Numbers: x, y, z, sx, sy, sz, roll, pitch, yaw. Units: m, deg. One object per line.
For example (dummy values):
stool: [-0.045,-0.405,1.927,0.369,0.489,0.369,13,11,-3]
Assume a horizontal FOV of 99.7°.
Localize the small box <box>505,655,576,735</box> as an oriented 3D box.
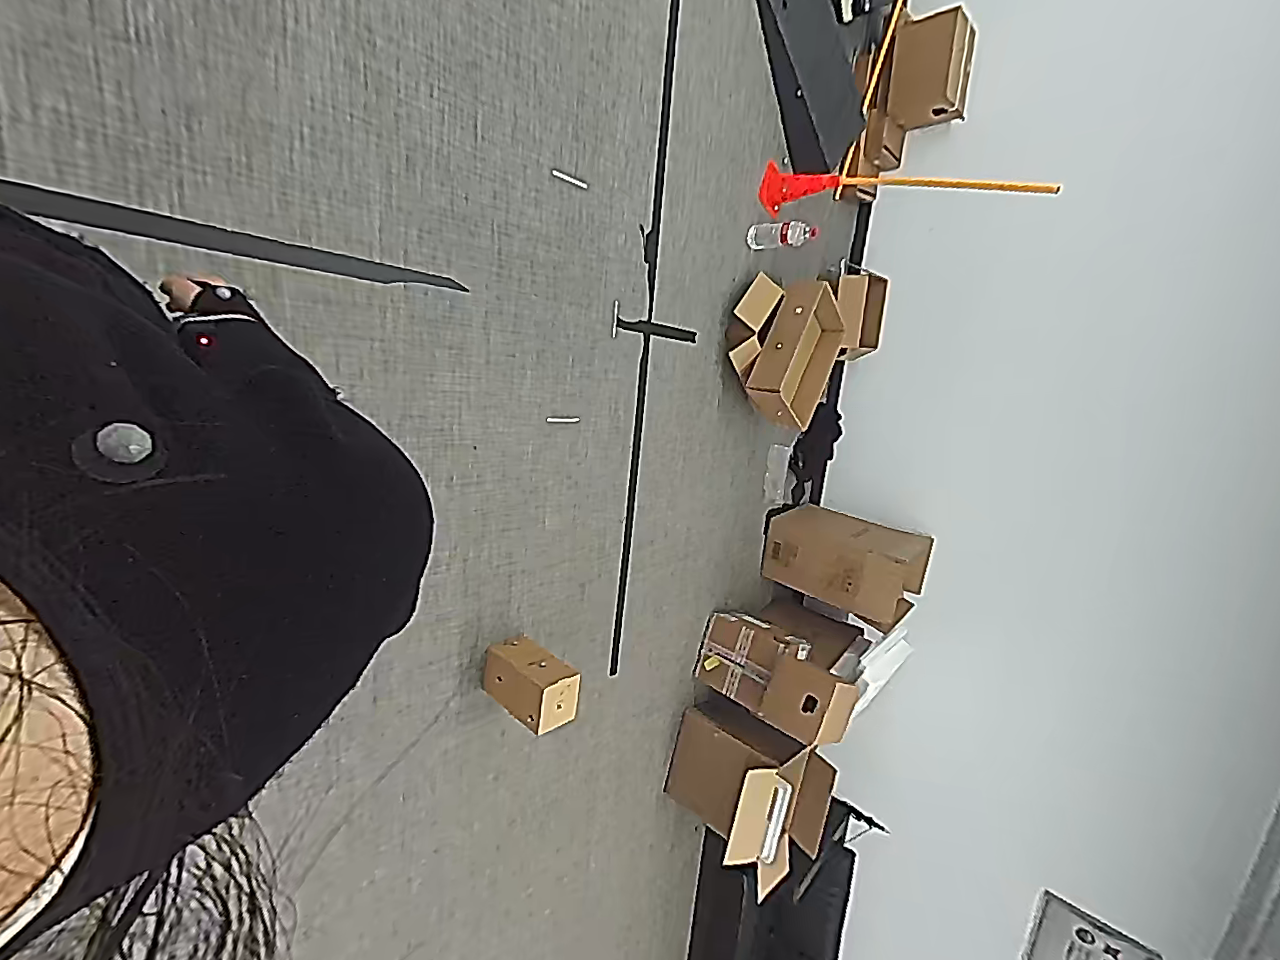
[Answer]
small box: [-0.346,0.735,1.868,0.168,0.176,0.179,-2,104,-50]
